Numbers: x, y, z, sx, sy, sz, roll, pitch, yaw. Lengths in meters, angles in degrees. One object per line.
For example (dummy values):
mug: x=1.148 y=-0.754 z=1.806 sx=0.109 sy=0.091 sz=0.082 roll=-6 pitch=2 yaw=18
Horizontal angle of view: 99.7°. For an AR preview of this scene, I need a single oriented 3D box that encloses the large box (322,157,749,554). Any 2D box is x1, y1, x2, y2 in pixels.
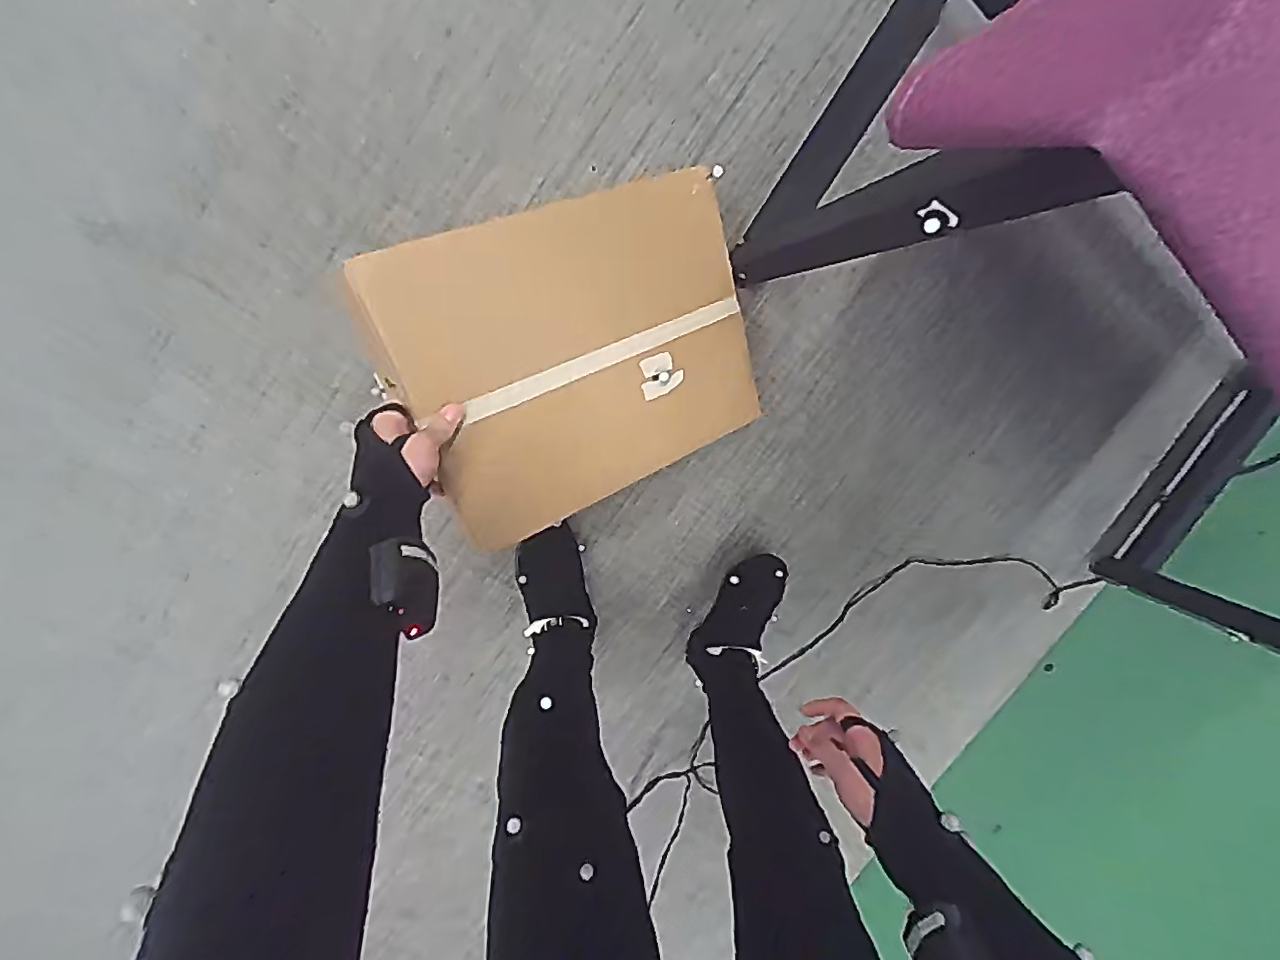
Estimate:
large box: x=-0.133 y=-0.170 z=0.707 sx=0.408 sy=0.320 sz=0.320 roll=-28 pitch=117 yaw=-23
